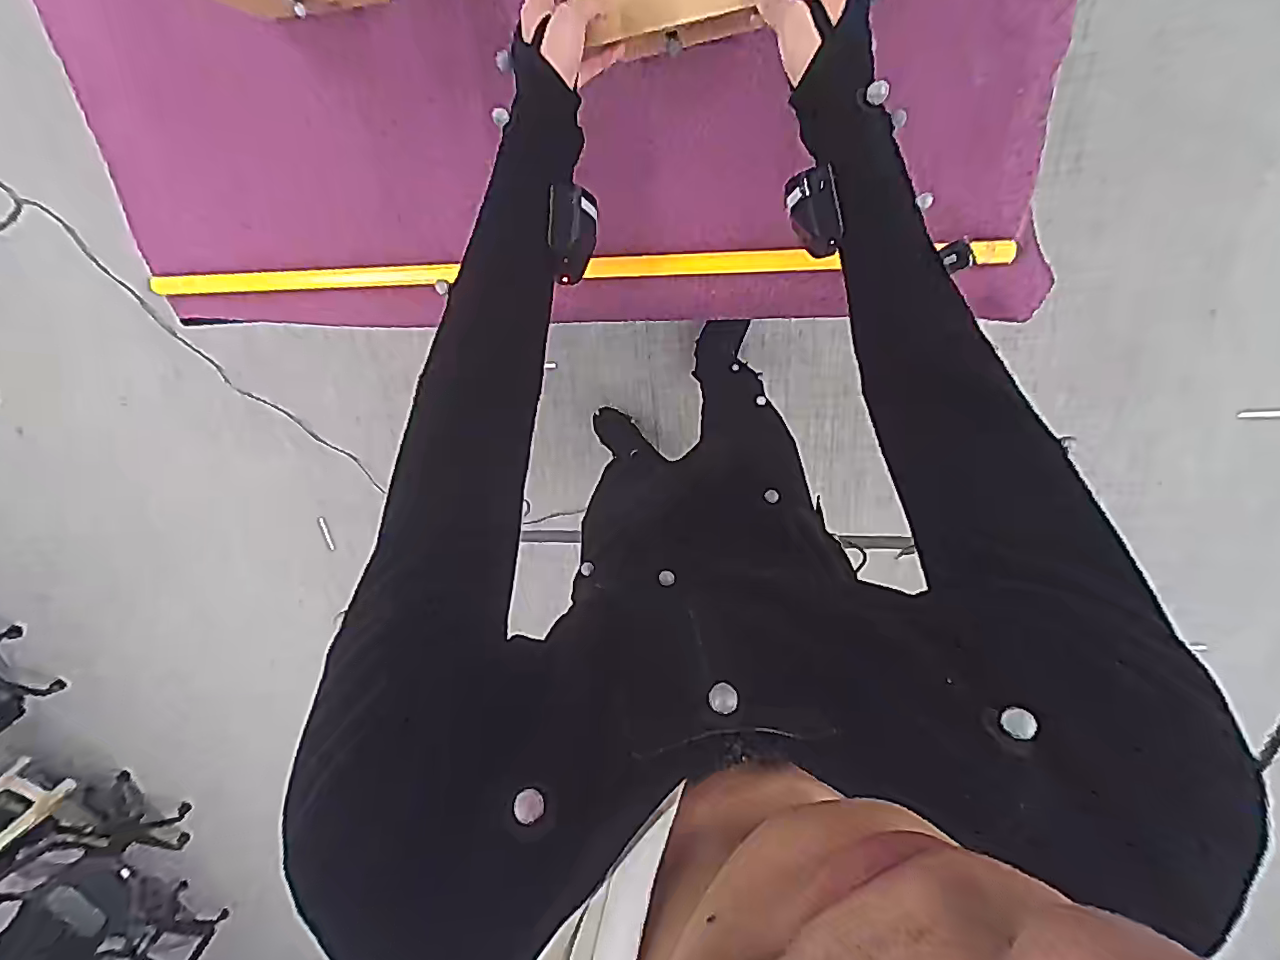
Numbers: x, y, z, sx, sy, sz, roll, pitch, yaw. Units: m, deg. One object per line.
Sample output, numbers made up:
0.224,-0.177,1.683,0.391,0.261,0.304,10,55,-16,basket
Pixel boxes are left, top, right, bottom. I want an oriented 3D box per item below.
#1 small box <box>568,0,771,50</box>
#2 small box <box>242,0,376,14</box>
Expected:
0.029,-0.507,0.482,0.179,0.176,0.168,-1,124,17,small box
-0.392,-0.602,0.535,0.168,0.176,0.179,1,120,9,small box
